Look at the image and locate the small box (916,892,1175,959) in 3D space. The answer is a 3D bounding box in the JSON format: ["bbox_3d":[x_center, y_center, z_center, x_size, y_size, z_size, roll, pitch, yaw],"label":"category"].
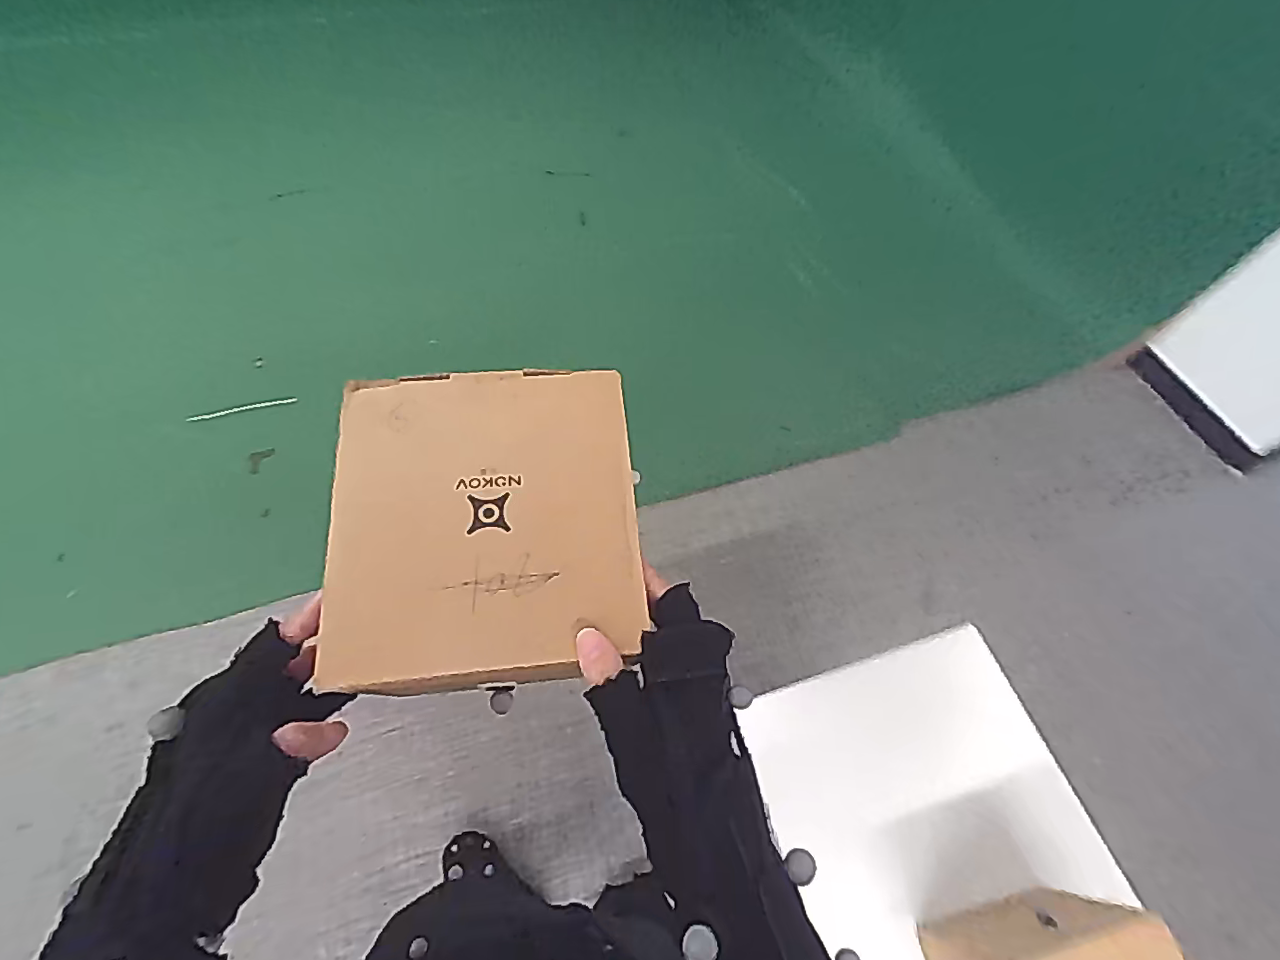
[{"bbox_3d":[0.422,0.542,0.539,0.179,0.176,0.168,-10,61,-8],"label":"small box"}]
